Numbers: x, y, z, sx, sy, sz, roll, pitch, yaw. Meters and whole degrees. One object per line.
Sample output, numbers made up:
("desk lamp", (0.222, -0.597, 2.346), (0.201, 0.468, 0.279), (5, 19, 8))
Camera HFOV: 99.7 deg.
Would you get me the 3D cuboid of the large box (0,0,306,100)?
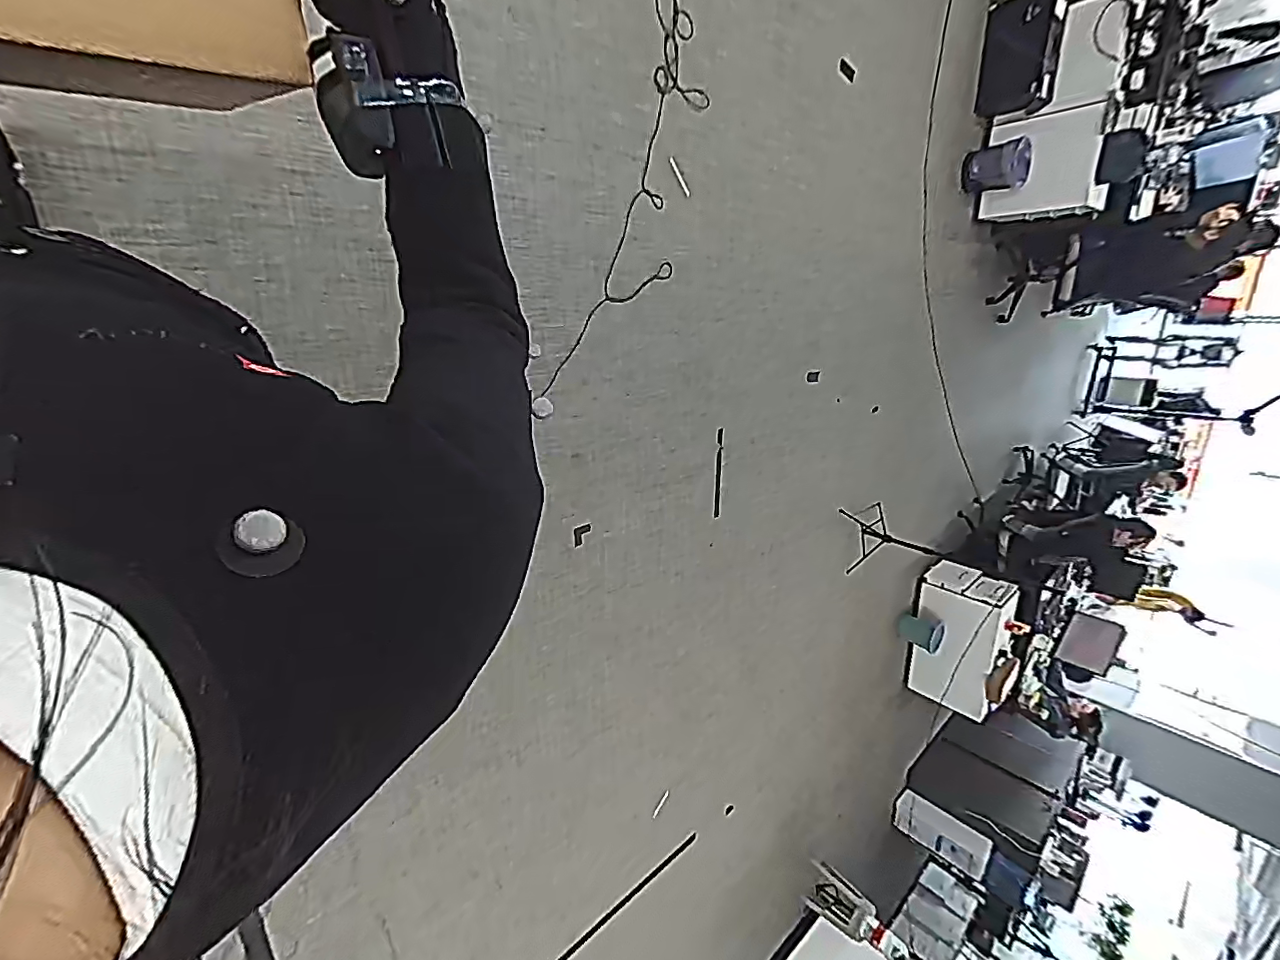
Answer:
("large box", (-0.449, -0.389, 0.244), (0.408, 0.320, 0.320), (-21, 128, -37))
